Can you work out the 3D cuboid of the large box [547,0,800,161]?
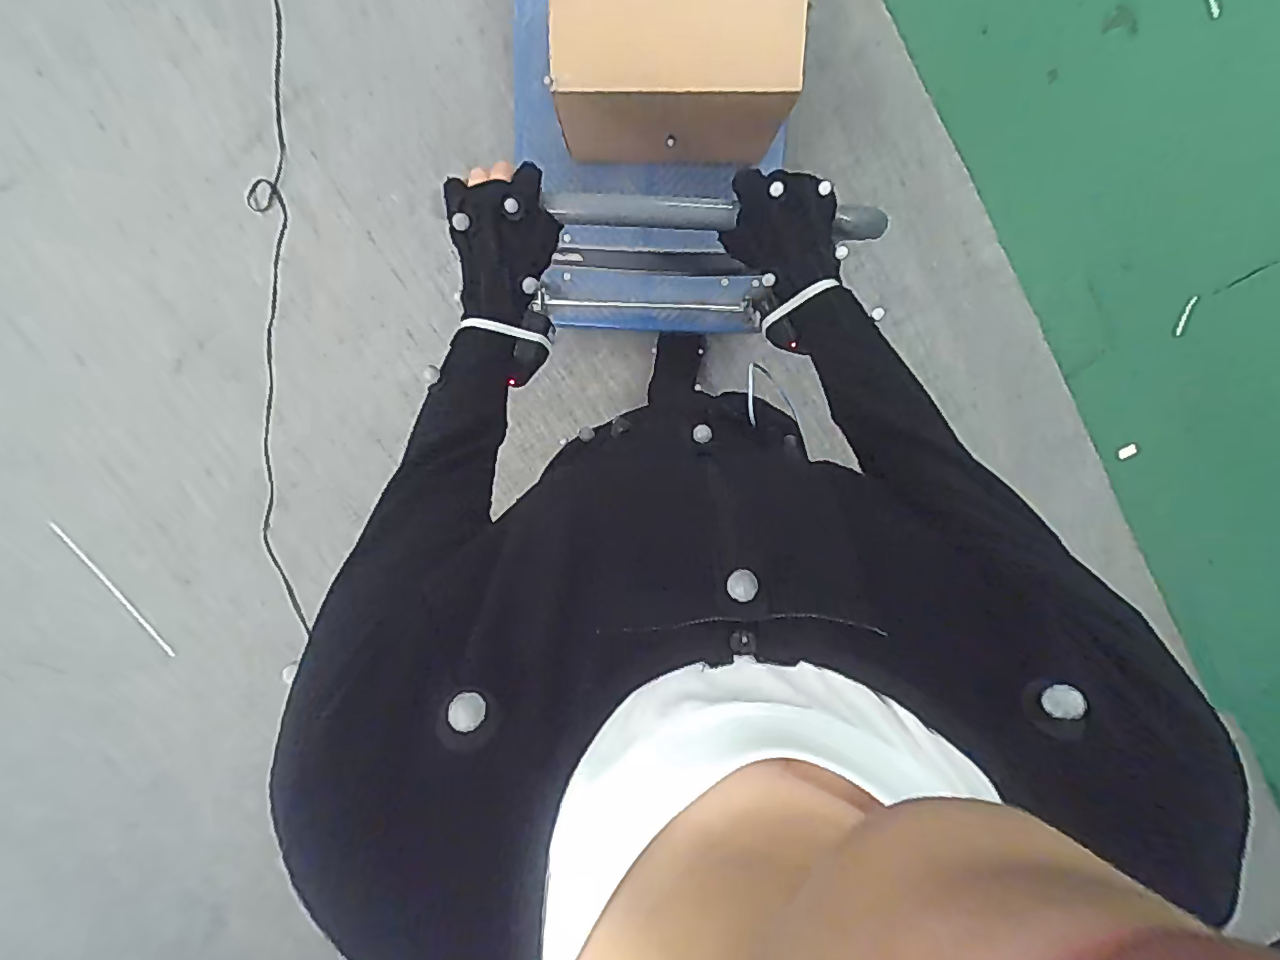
[{"bbox_3d":[0.052,-0.804,0.983,0.408,0.320,0.320,-1,101,0],"label":"large box"}]
